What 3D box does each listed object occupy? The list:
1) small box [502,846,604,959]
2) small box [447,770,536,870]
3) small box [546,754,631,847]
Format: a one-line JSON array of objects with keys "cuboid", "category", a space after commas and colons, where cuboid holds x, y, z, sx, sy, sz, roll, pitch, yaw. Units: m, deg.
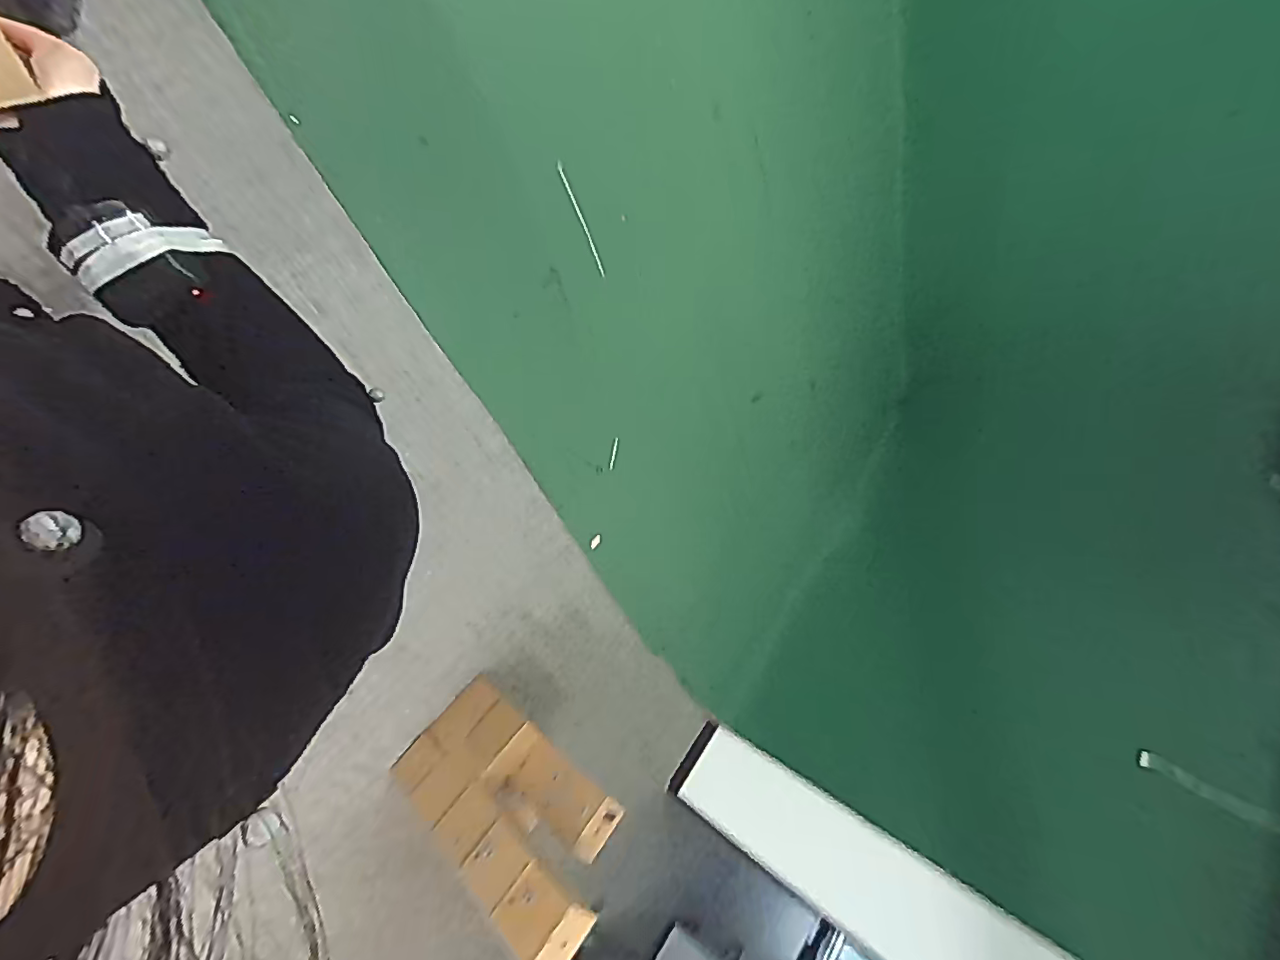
[{"cuboid": [-0.230, 1.119, 1.436, 0.168, 0.176, 0.179, -47, 135, -24], "category": "small box"}, {"cuboid": [-0.460, 1.034, 1.652, 0.179, 0.176, 0.168, -49, 137, -23], "category": "small box"}, {"cuboid": [-0.164, 1.015, 1.721, 0.179, 0.176, 0.168, -50, 137, -25], "category": "small box"}]
